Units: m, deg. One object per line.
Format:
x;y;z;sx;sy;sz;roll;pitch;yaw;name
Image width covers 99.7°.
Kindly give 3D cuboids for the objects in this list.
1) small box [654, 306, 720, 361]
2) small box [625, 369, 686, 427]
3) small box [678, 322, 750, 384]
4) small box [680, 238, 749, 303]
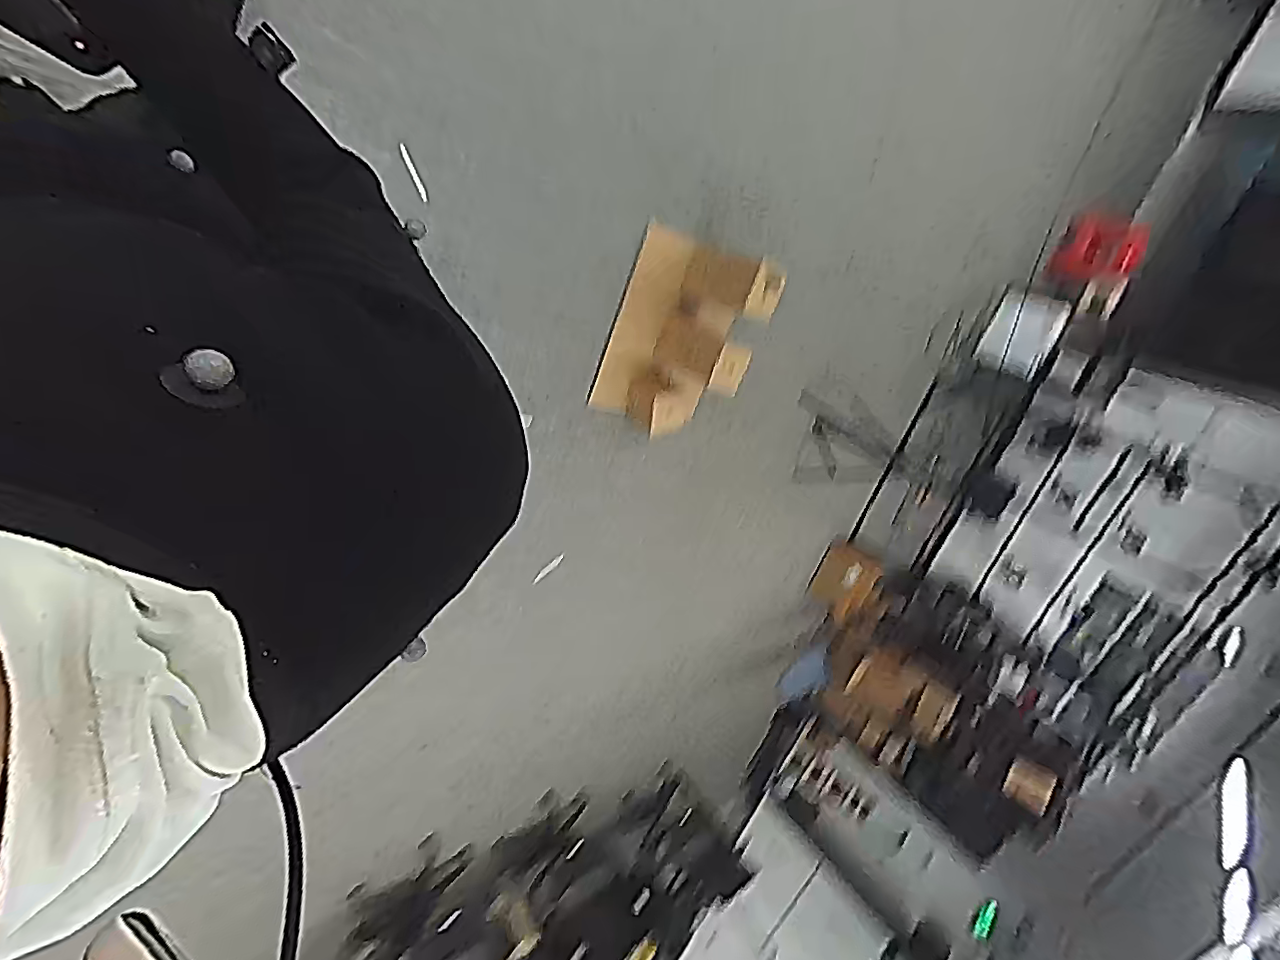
0.180;-0.570;2.151;0.168;0.176;0.179;3;116;-44;small box
0.061;-0.341;2.206;0.179;0.176;0.168;-21;130;-33;small box
0.278;-0.483;2.050;0.179;0.176;0.168;4;116;-44;small box
0.278;-0.803;2.068;0.168;0.176;0.179;1;116;-44;small box
